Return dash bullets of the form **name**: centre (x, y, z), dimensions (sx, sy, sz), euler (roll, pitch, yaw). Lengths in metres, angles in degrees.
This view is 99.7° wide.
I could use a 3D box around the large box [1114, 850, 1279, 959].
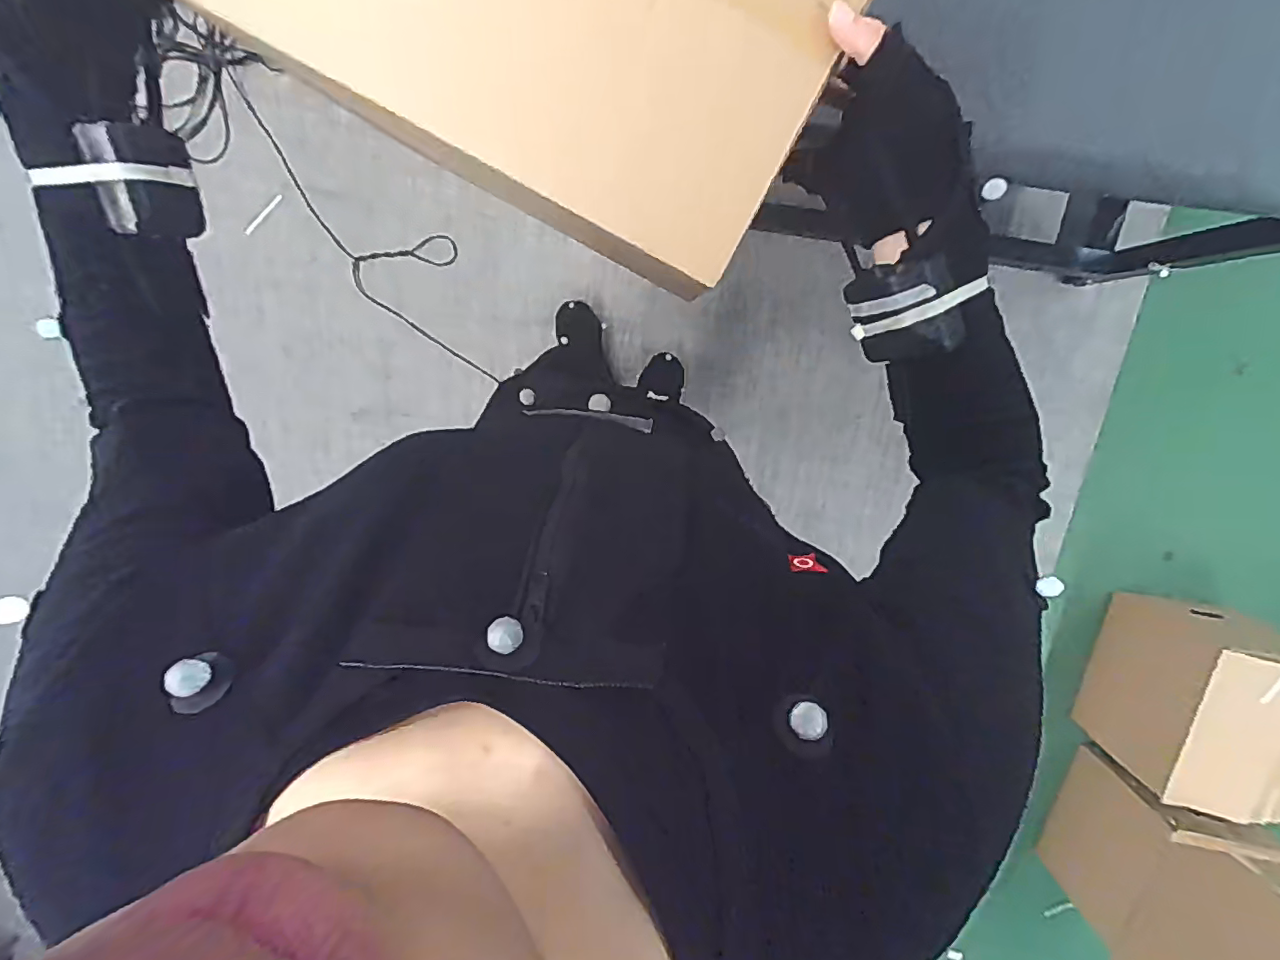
- **large box**: centre (1.360, 1.114, 1.179), dimensions (0.320, 0.320, 0.408), euler (10, 104, 3)
